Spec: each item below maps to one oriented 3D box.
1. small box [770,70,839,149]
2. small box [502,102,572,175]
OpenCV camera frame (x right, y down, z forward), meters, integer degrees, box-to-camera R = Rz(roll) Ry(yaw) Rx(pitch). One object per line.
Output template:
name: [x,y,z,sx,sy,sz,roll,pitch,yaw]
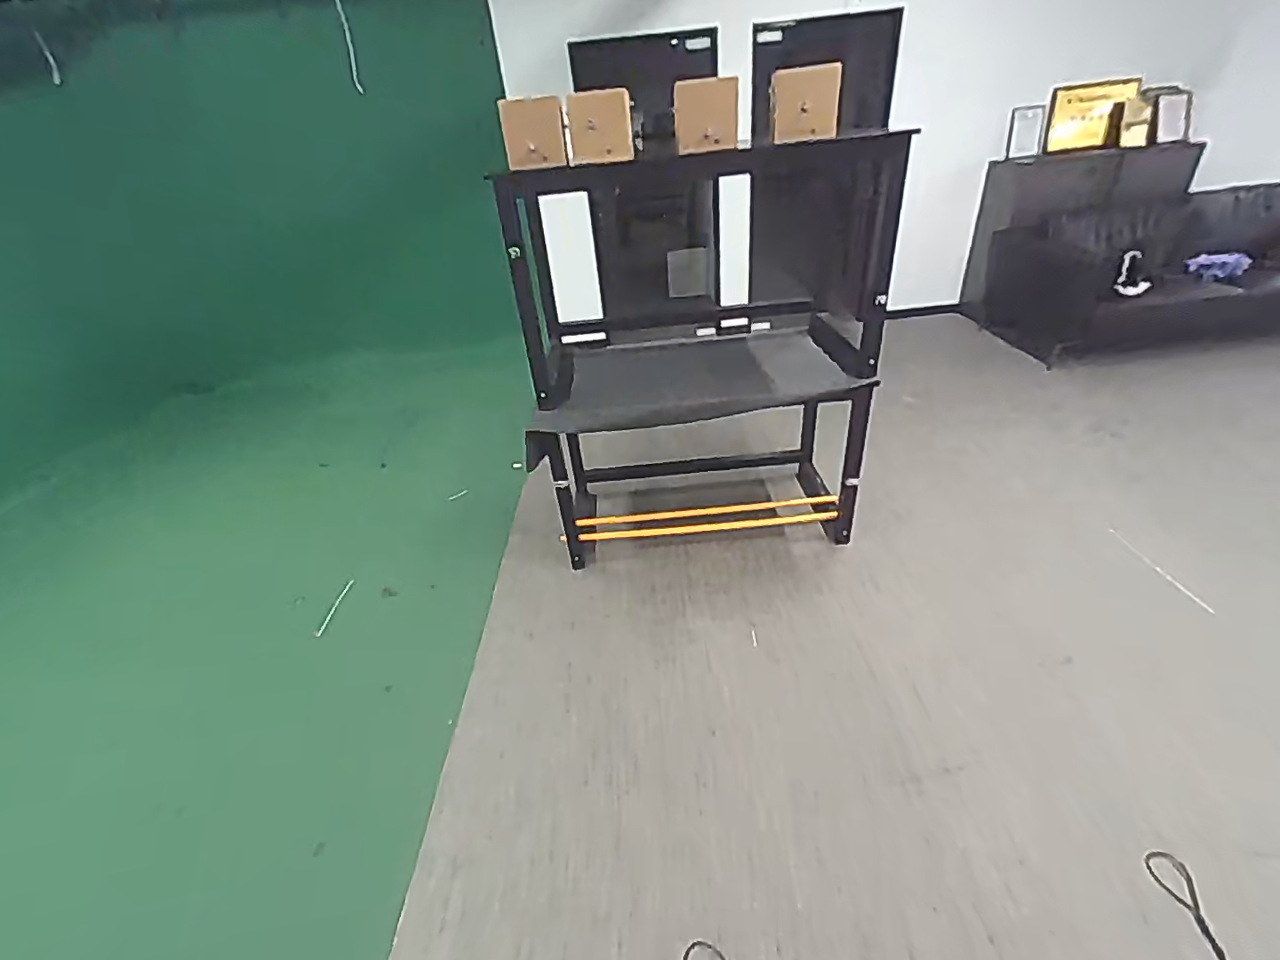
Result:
small box: [0.465,-1.053,1.546,0.168,0.176,0.179,0,32,8]
small box: [-0.296,-0.998,1.587,0.168,0.176,0.179,-6,33,0]
